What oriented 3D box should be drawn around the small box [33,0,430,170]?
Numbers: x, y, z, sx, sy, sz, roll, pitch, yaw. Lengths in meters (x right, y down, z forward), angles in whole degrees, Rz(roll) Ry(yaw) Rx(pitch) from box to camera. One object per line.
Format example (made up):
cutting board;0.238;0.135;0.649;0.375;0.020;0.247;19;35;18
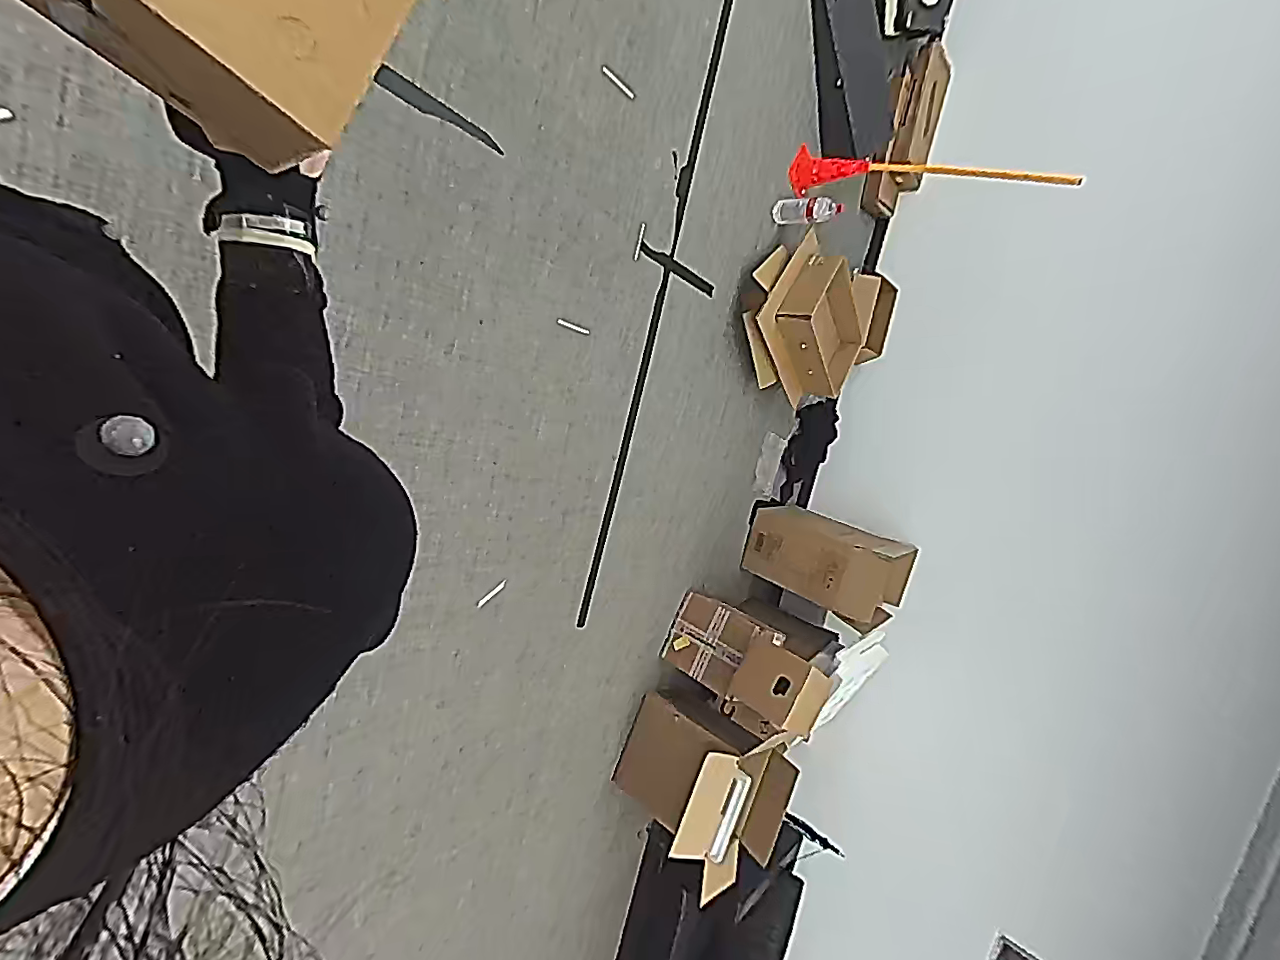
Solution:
small box;-0.228;-0.307;0.302;0.168;0.176;0.179;30;85;-47
